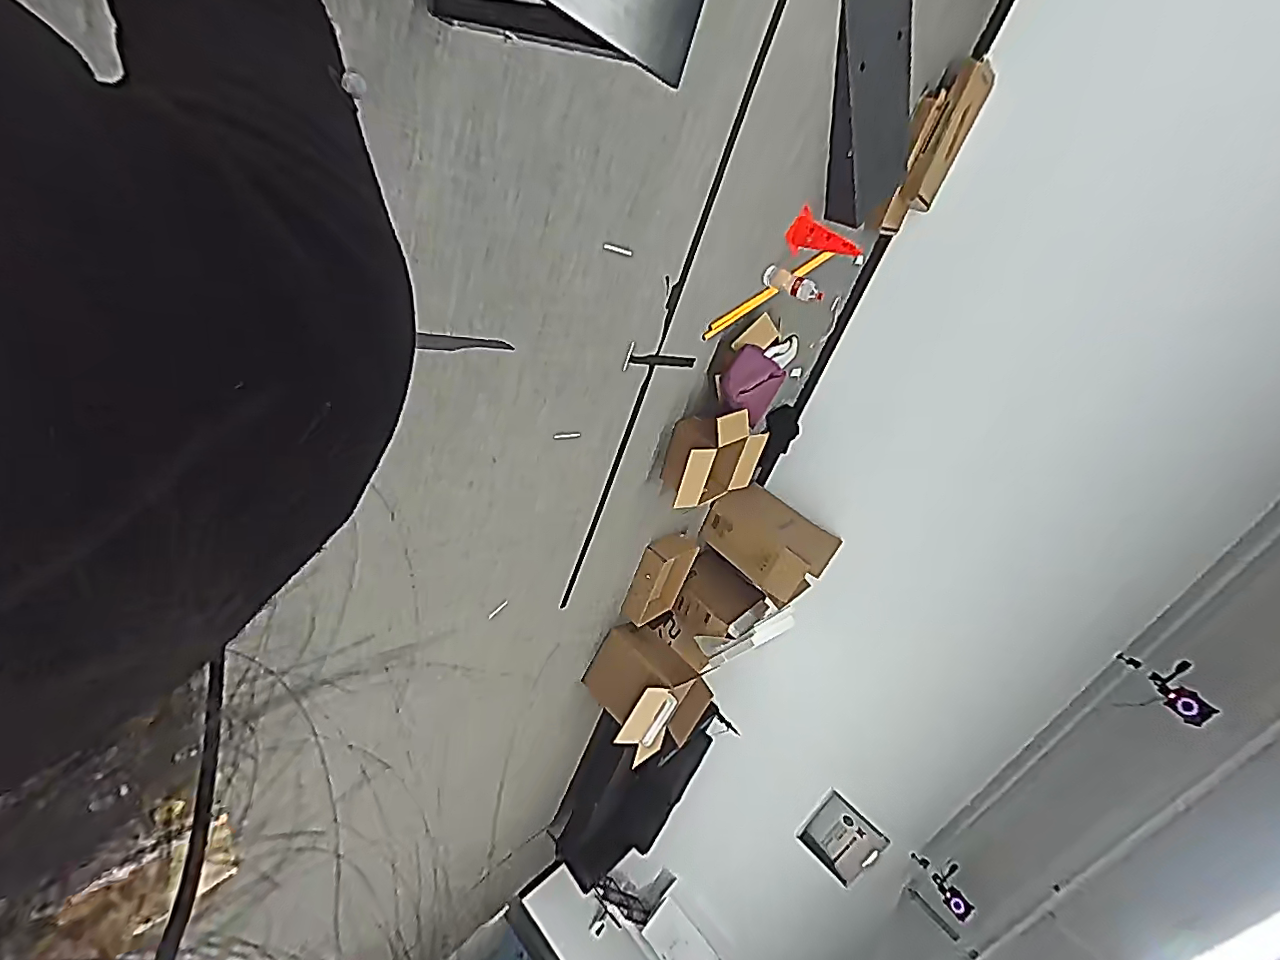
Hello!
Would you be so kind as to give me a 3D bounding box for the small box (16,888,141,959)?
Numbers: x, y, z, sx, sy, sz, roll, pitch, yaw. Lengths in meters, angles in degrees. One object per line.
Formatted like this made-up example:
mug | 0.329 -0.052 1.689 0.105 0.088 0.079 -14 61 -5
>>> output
small box | -1.288 1.107 1.246 0.179 0.176 0.168 -19 134 -44
